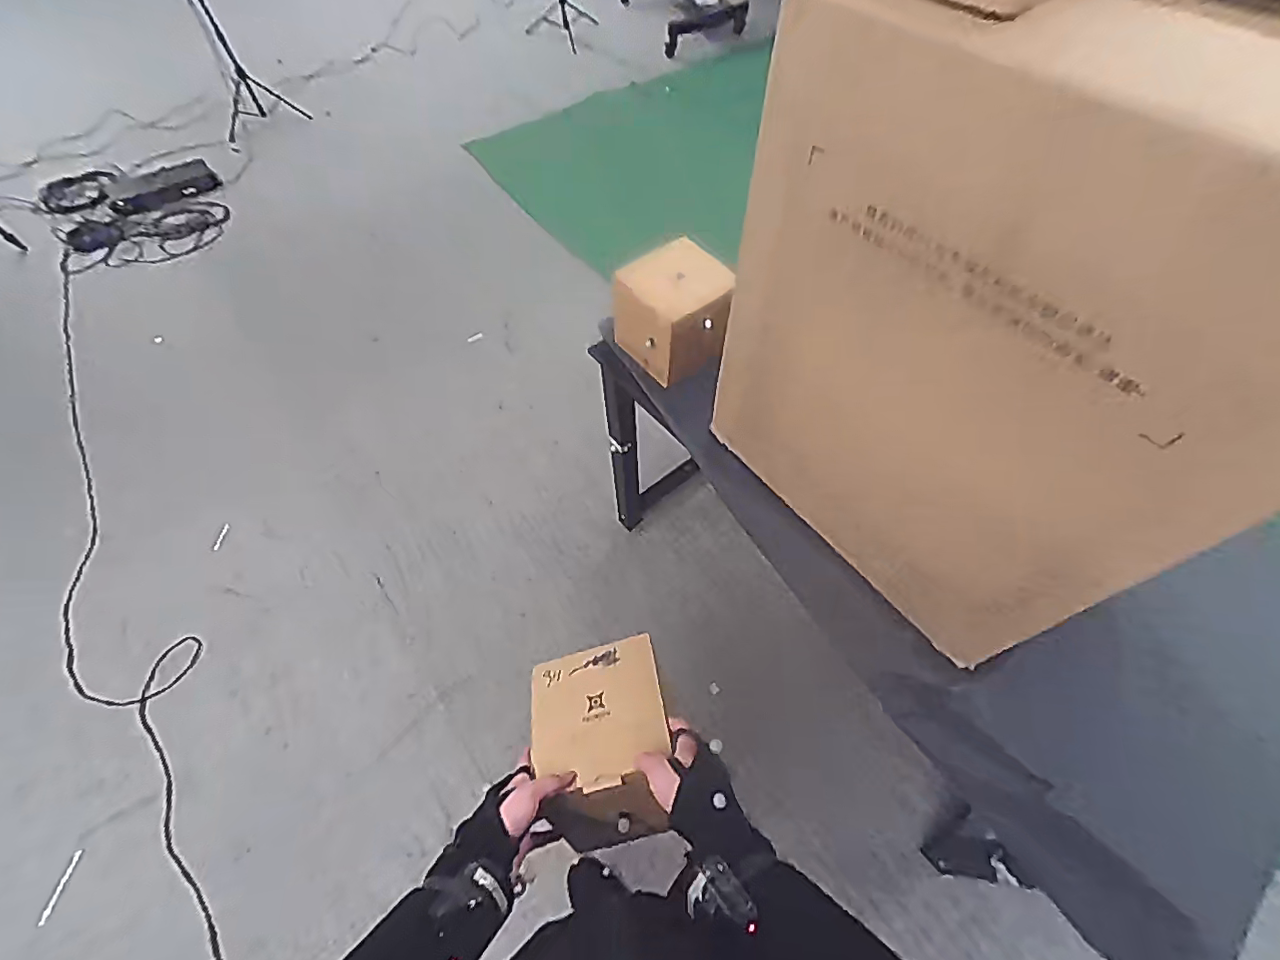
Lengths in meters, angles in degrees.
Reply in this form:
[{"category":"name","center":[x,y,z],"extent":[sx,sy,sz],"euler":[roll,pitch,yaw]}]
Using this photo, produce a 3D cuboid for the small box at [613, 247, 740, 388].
[{"category":"small box","center":[0.066,-0.310,1.049],"extent":[0.179,0.176,0.168],"euler":[-34,65,-22]}]
